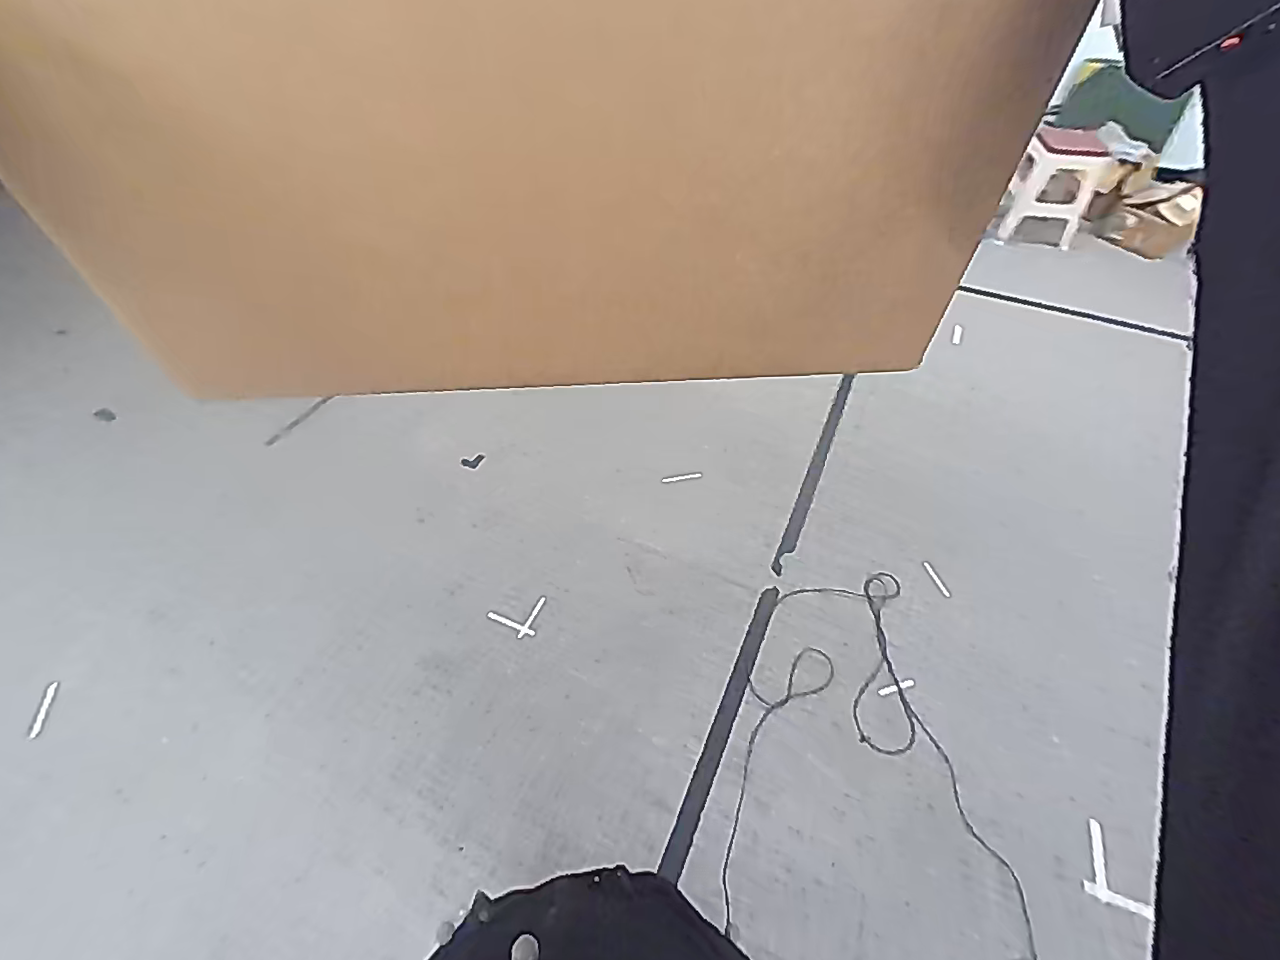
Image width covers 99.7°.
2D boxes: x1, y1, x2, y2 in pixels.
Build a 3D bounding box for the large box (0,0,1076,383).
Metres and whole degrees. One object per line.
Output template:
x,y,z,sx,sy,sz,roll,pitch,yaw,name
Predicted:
-0.045,-0.271,0.295,0.408,0.320,0.320,-2,50,-4,large box
